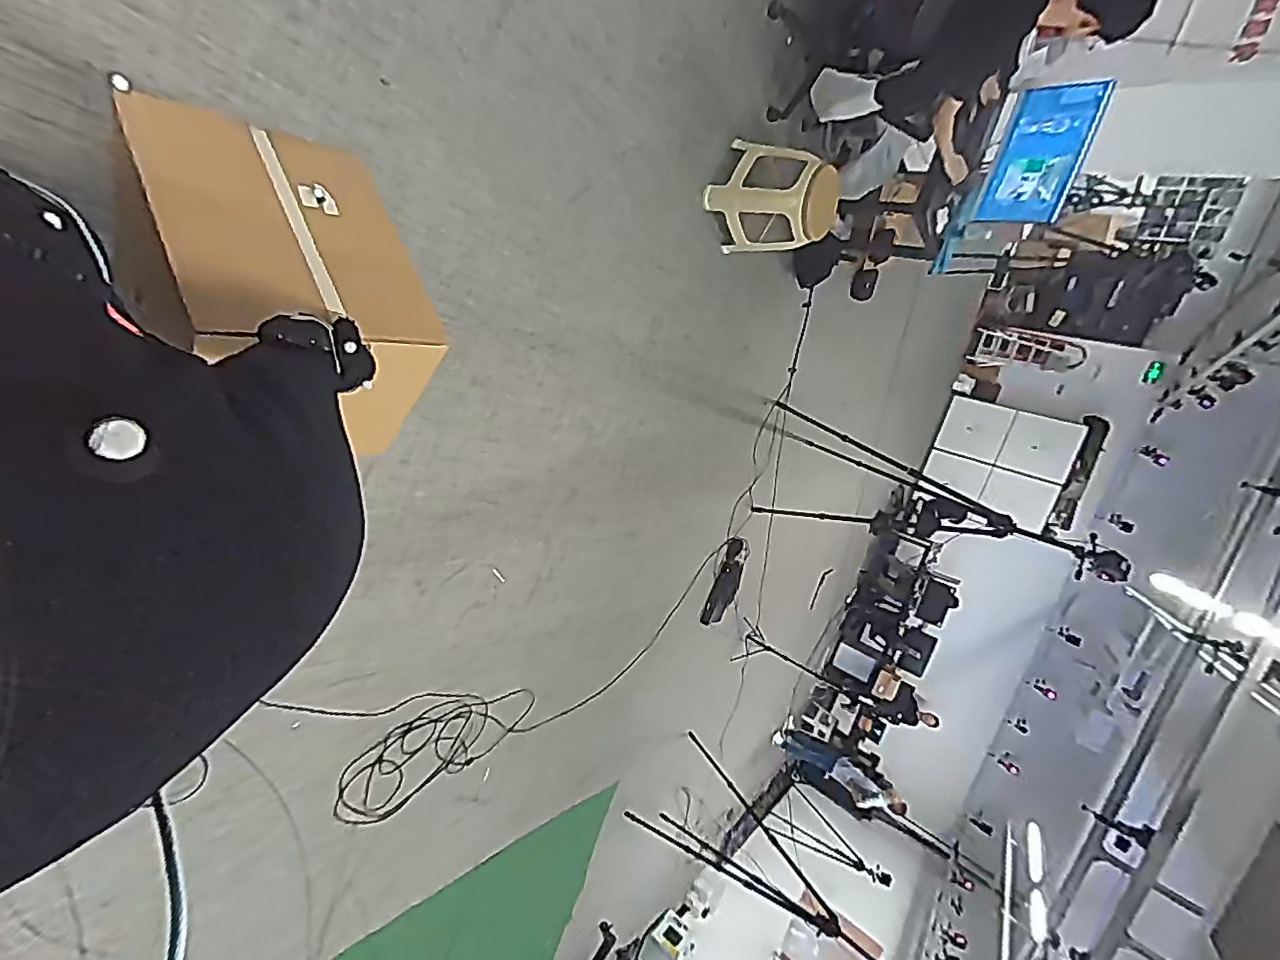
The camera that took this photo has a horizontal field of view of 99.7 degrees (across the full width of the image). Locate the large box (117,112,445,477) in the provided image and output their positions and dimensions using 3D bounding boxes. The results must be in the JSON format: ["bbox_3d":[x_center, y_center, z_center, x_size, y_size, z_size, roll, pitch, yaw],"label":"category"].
[{"bbox_3d":[-0.581,-0.266,0.869,0.320,0.408,0.320,-12,158,-49],"label":"large box"}]
